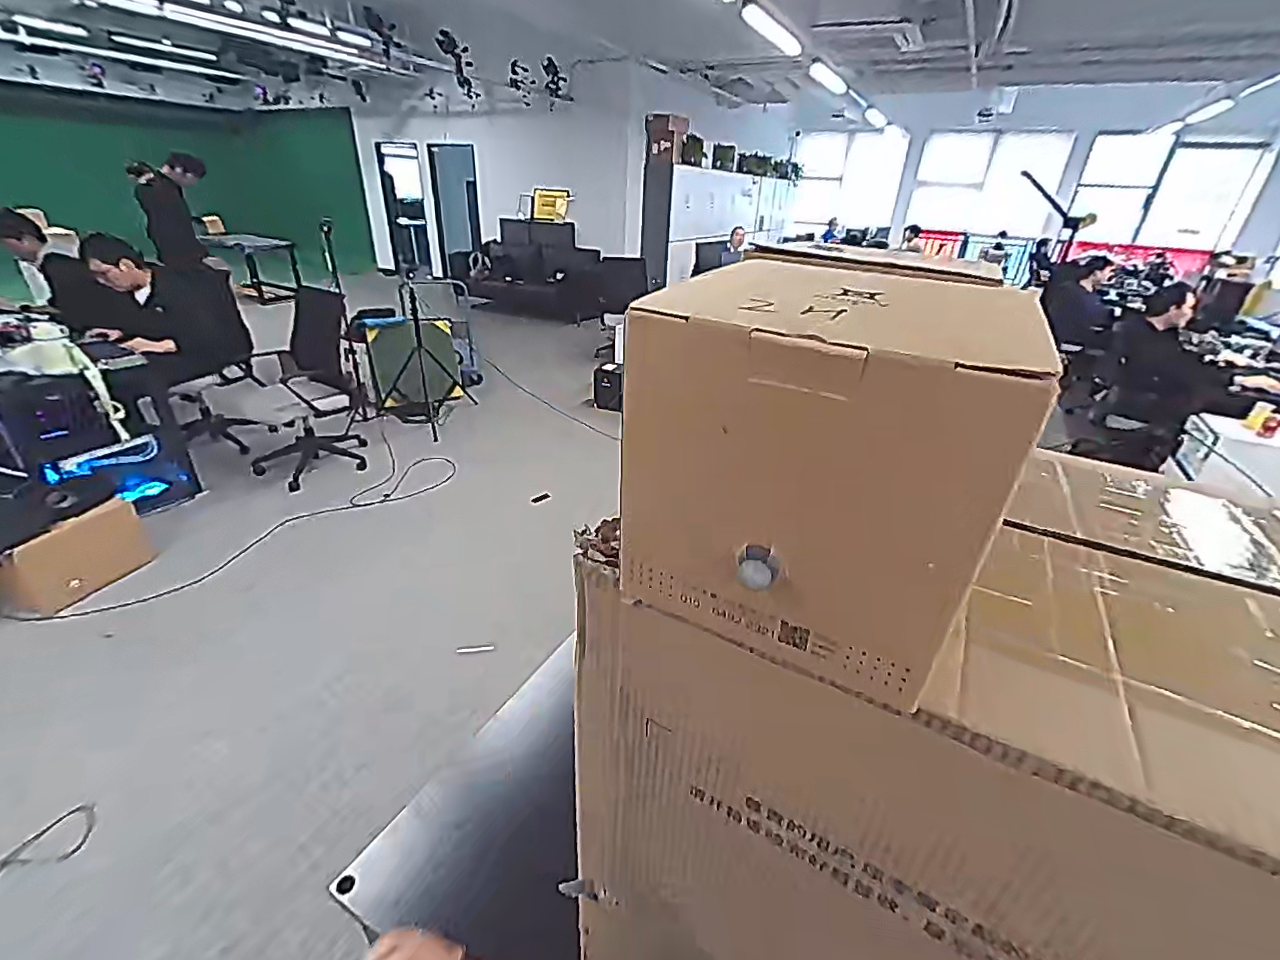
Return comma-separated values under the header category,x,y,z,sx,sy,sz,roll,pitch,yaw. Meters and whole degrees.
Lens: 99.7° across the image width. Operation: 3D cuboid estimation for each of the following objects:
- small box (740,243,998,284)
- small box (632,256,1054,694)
category,x,y,z,sx,sy,sz,roll,pitch,yaw
small box,0.184,-0.107,0.471,0.179,0.176,0.168,19,31,25
small box,0.103,-0.021,0.311,0.168,0.176,0.179,17,34,25
